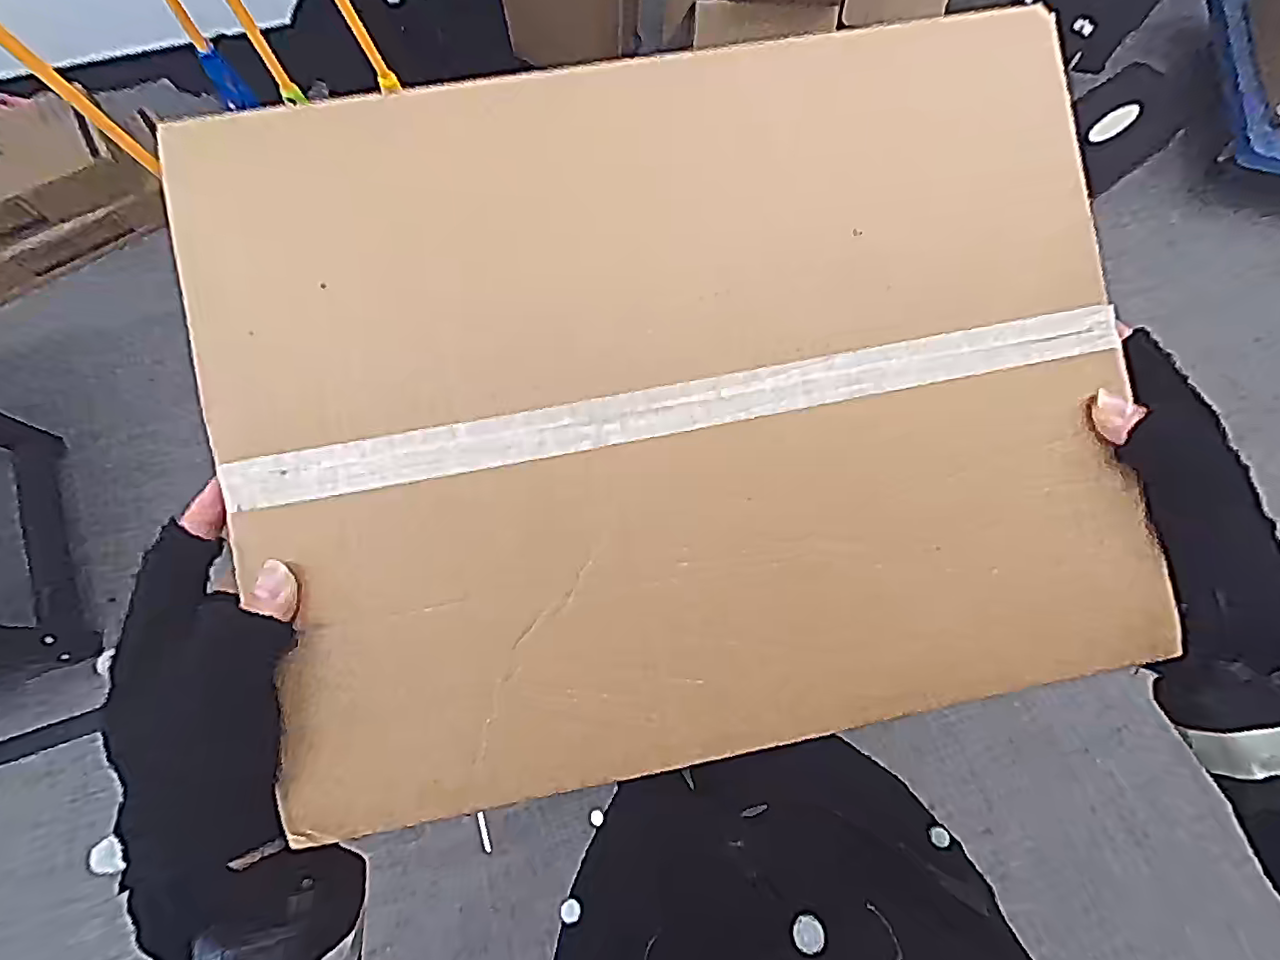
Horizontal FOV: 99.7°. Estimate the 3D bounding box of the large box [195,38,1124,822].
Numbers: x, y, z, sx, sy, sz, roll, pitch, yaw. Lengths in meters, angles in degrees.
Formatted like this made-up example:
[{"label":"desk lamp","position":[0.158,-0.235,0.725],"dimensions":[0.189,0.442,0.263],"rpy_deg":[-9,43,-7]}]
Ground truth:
[{"label":"large box","position":[0.012,-0.031,0.403],"dimensions":[0.408,0.320,0.320],"rpy_deg":[-10,89,-4]}]
